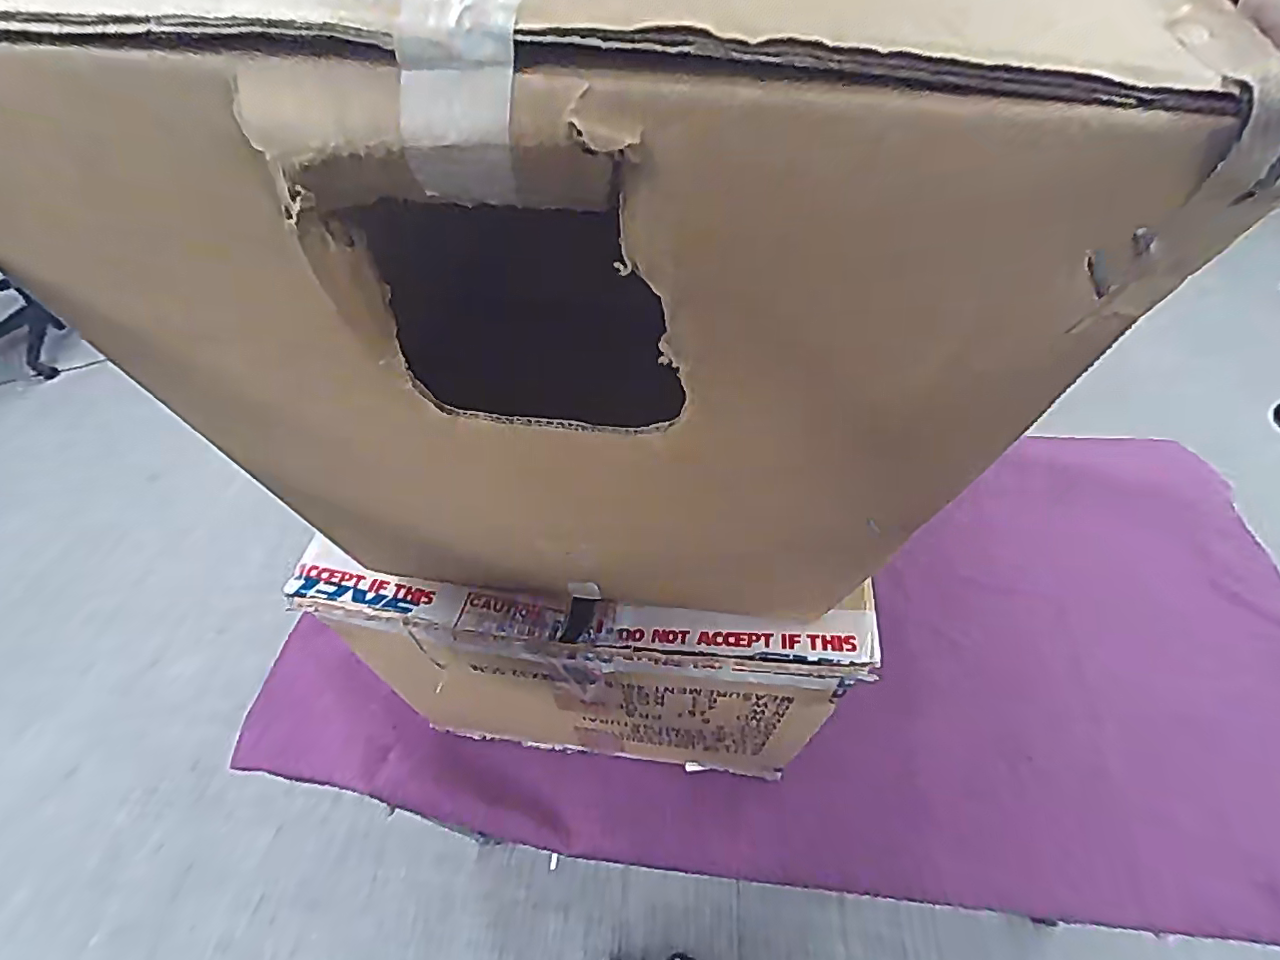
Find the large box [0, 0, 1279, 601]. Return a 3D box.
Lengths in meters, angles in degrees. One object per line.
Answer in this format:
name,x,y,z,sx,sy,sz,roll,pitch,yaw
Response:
large box,-0.006,-0.175,0.338,0.320,0.320,0.408,4,60,3
